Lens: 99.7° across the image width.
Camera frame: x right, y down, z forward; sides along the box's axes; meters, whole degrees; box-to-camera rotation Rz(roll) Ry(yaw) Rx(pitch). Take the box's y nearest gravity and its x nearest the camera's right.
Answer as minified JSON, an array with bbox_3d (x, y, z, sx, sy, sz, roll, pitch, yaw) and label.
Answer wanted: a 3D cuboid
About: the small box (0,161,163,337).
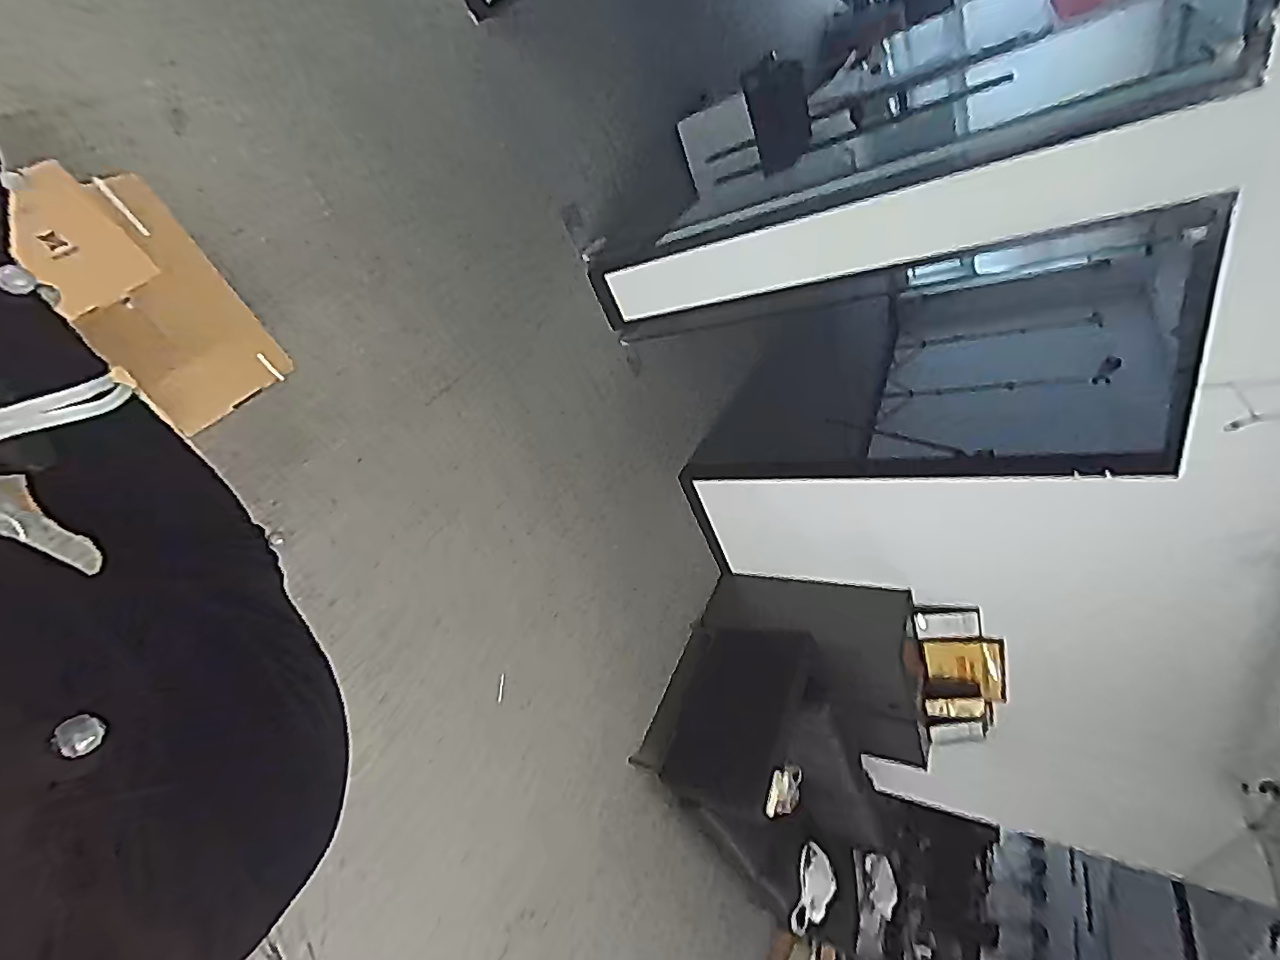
[{"bbox_3d":[-0.876,-0.326,0.794,0.179,0.176,0.168,61,41,-34],"label":"small box"}]

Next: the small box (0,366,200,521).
[{"bbox_3d":[-0.845,-0.056,0.825,0.179,0.176,0.168,-55,133,-43],"label":"small box"}]
